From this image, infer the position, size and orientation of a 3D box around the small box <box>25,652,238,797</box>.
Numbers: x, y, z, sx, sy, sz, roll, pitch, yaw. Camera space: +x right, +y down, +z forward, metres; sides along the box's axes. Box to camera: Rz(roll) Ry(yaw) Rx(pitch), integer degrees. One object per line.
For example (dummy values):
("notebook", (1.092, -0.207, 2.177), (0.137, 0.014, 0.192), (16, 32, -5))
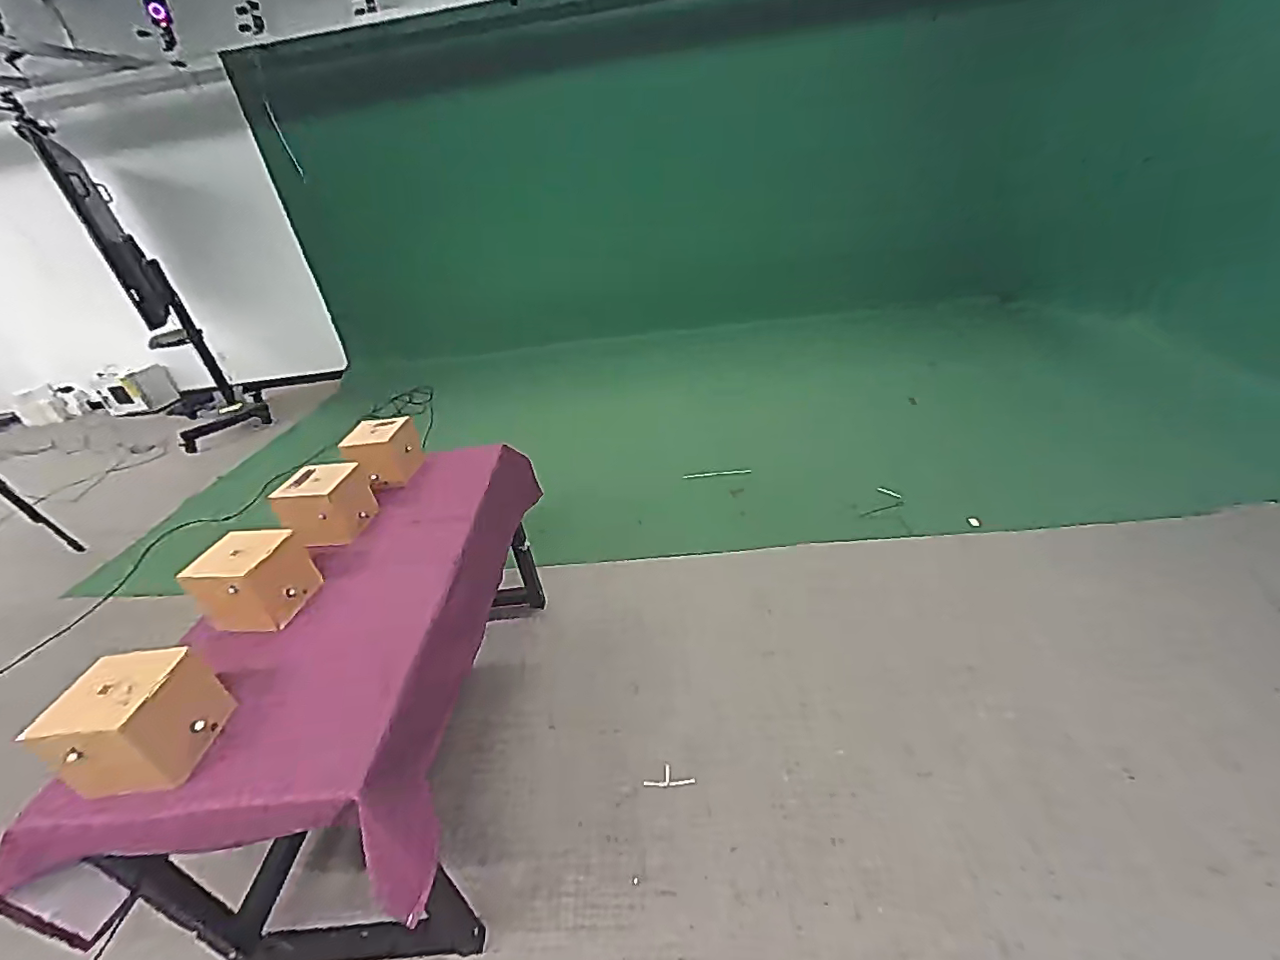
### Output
("small box", (-0.872, 0.431, 0.950), (0.179, 0.176, 0.168), (-7, 31, 3))

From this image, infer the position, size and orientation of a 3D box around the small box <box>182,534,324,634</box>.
("small box", (-0.894, 0.245, 1.267), (0.179, 0.176, 0.168), (-2, 32, 9))

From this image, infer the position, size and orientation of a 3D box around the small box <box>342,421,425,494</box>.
("small box", (-0.823, -0.073, 1.760), (0.168, 0.176, 0.179), (-6, 33, 6))
